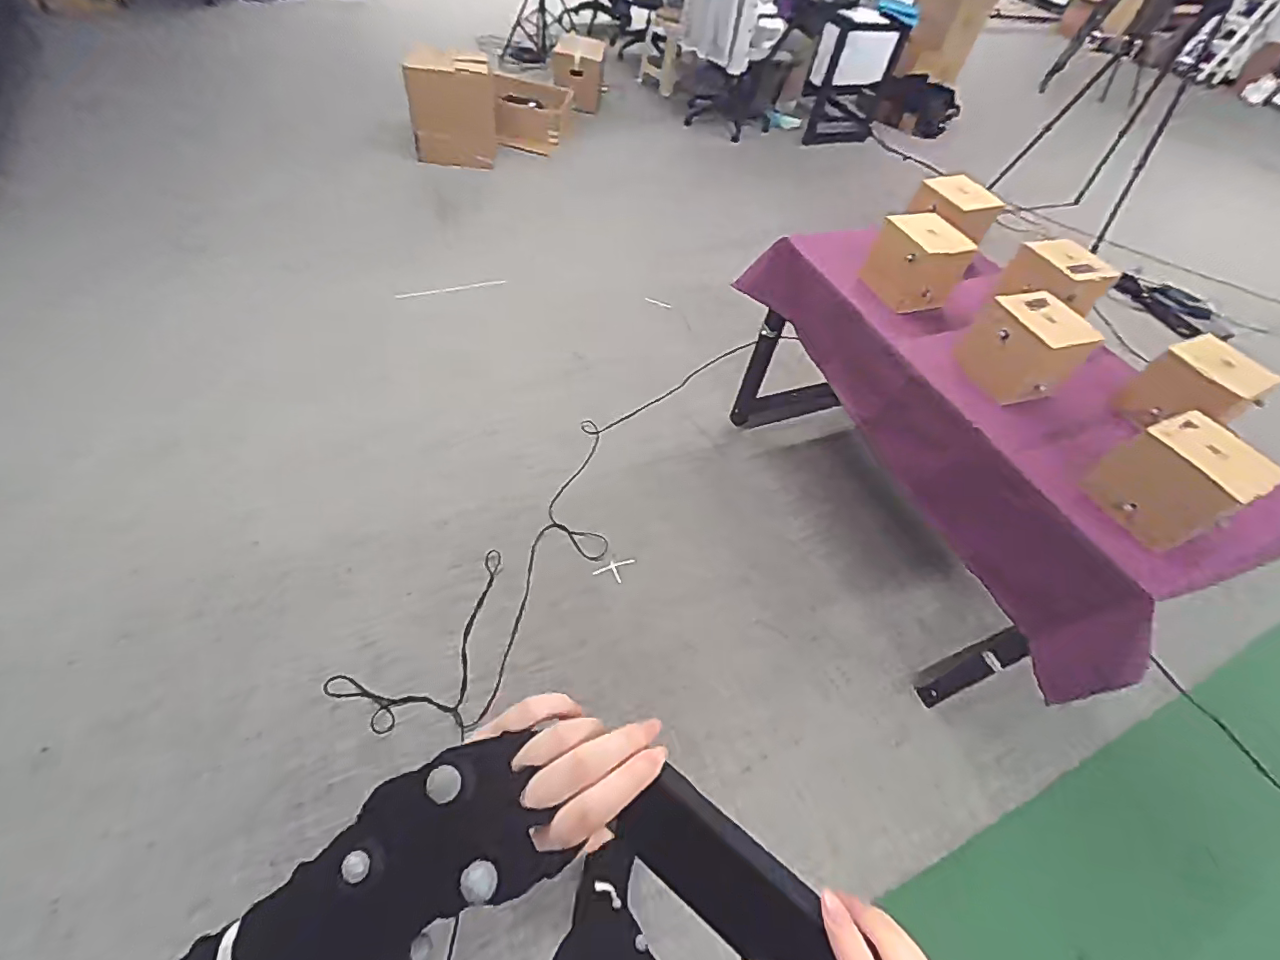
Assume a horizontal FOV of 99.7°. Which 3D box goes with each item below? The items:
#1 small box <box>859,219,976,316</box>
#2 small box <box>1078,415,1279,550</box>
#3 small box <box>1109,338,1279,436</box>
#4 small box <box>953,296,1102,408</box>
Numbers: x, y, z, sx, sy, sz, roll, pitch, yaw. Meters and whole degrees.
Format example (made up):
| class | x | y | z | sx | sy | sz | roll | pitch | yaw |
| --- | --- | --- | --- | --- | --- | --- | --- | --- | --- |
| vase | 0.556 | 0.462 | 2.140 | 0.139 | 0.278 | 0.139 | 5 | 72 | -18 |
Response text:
| class | x | y | z | sx | sy | sz | roll | pitch | yaw |
| --- | --- | --- | --- | --- | --- | --- | --- | --- | --- |
| small box | 0.706 | -0.550 | 1.400 | 0.168 | 0.176 | 0.179 | -13 | 57 | -19 |
| small box | 0.990 | 0.012 | 1.006 | 0.168 | 0.176 | 0.179 | -15 | 56 | -21 |
| small box | 1.206 | -0.183 | 1.193 | 0.179 | 0.176 | 0.168 | -17 | 56 | -21 |
| small box | 0.857 | -0.287 | 1.219 | 0.168 | 0.176 | 0.179 | -12 | 56 | -18 |
